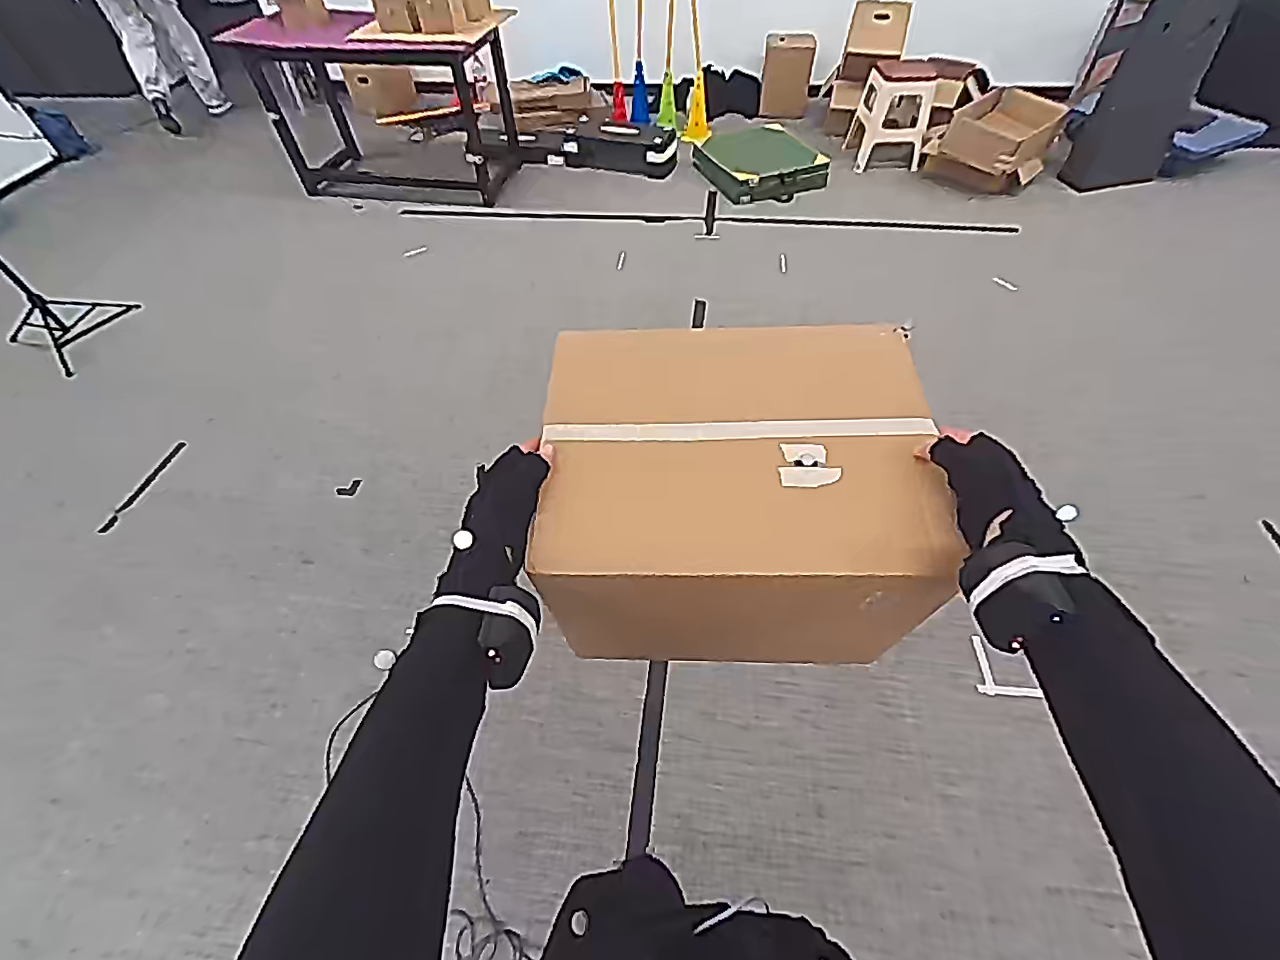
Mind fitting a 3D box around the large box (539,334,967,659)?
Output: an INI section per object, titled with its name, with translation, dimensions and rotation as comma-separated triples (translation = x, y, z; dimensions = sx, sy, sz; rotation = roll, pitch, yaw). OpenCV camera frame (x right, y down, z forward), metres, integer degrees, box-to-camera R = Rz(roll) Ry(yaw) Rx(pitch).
[large box]
translation = 0.109, 0.037, 0.702
dimensions = 0.408, 0.320, 0.320
rotation = 0, 58, 3
